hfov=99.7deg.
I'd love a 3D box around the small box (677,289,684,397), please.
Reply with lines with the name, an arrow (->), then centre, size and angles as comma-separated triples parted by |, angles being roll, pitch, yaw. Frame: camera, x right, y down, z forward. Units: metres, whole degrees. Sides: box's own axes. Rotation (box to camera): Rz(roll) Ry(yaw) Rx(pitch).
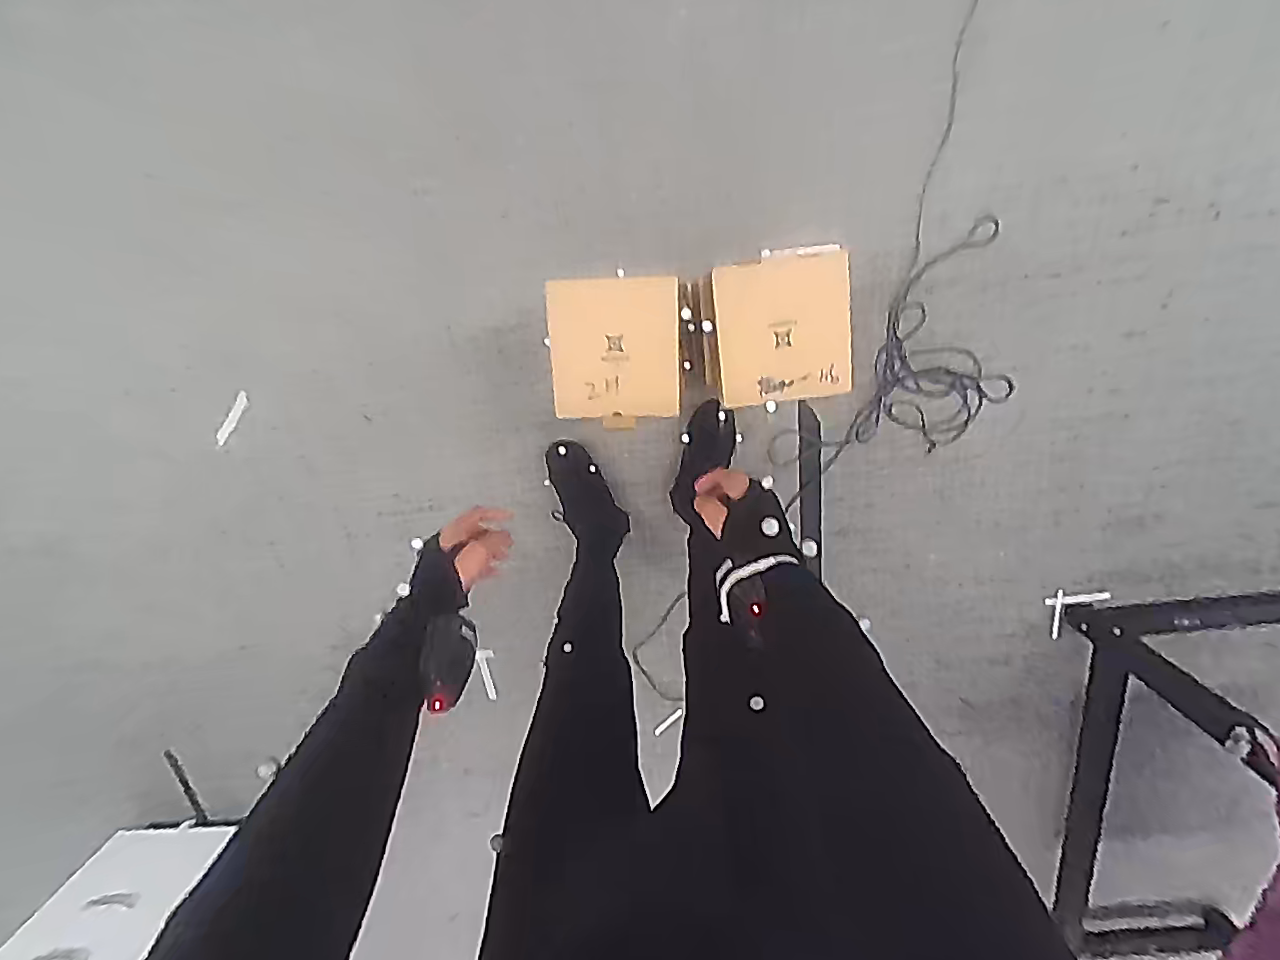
small box -> -0.017, -0.233, 0.907 | 0.179, 0.176, 0.168 | -2, 109, 5

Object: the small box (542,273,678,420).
small box -> -0.031, -0.187, 0.749 | 0.168, 0.176, 0.179 | -1, 109, 4
